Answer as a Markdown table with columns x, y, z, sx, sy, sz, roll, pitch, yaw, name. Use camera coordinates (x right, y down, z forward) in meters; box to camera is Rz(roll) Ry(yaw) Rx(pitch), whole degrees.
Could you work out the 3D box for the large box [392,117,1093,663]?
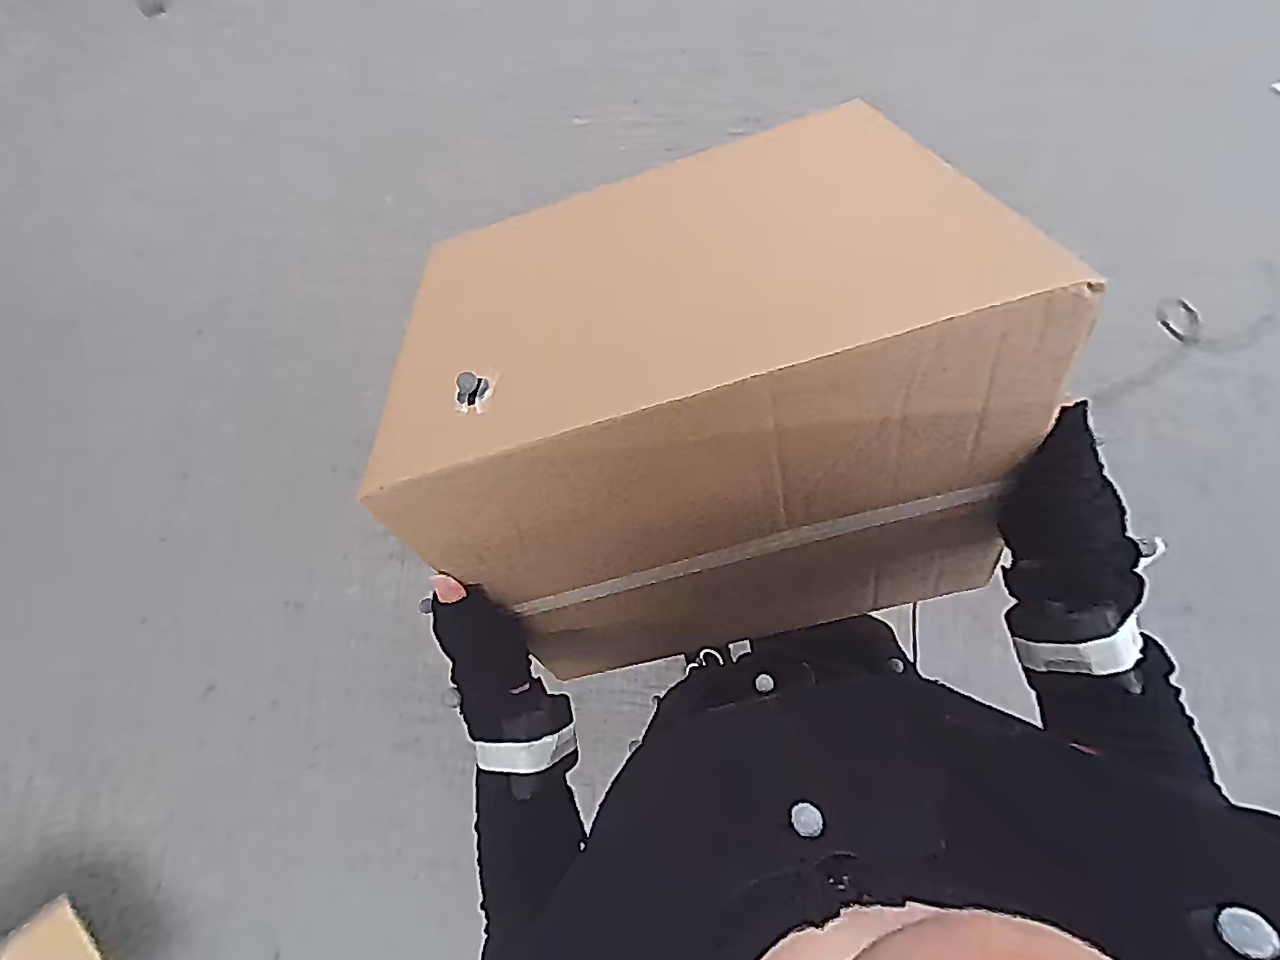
| x | y | z | sx | sy | sz | roll | pitch | yaw | name |
| --- | --- | --- | --- | --- | --- | --- | --- | --- | --- |
| 0.062 | -0.068 | 0.505 | 0.408 | 0.320 | 0.320 | -13 | 49 | 8 | large box |
